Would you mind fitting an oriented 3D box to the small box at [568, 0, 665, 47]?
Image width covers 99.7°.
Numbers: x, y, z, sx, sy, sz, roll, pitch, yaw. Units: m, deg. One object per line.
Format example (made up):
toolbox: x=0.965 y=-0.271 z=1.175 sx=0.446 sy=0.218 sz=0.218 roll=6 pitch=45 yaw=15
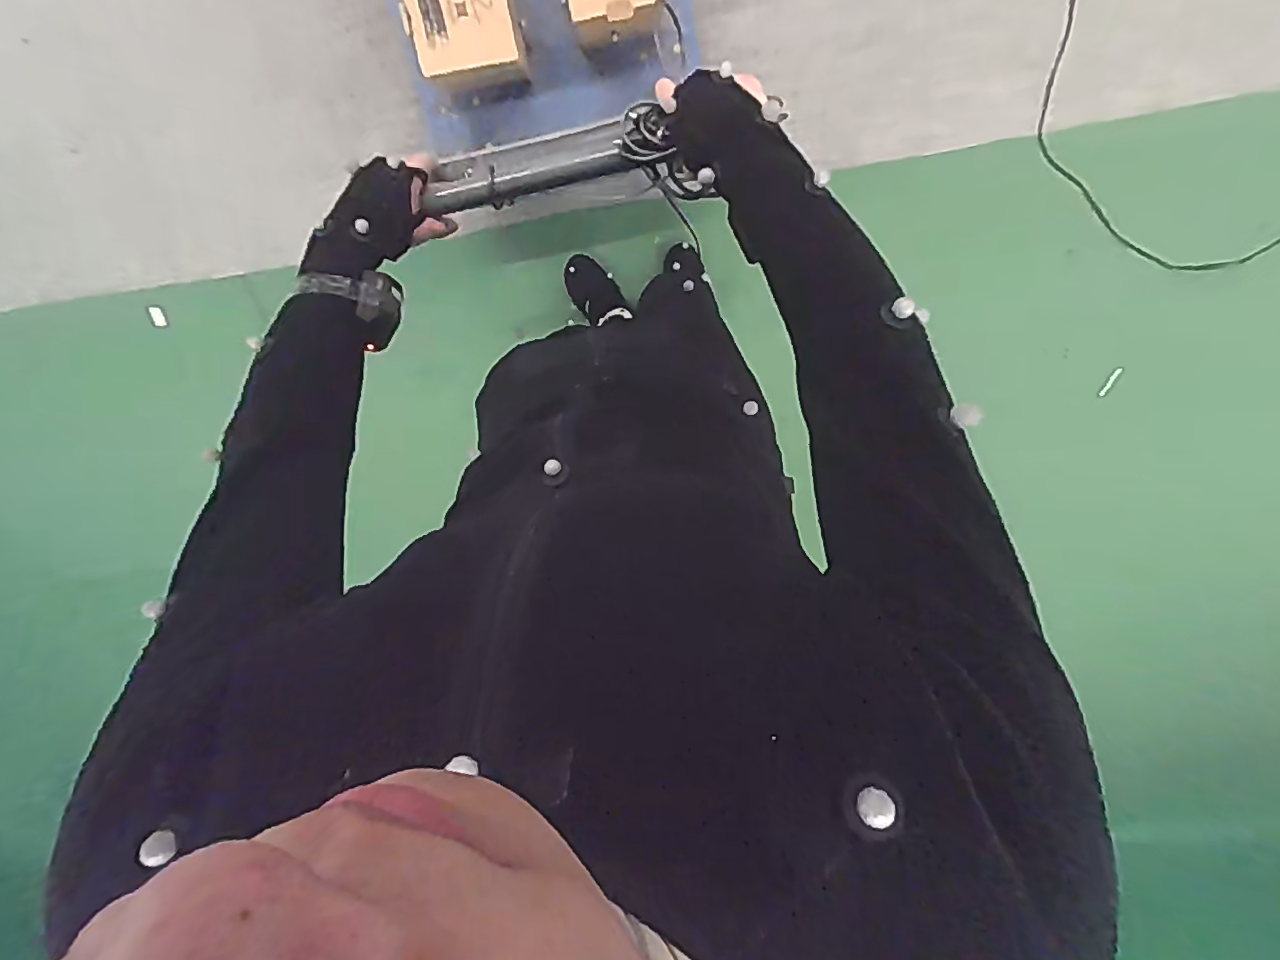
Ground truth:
small box: x=-0.055 y=-0.906 z=0.951 sx=0.168 sy=0.176 sz=0.179 roll=-11 pitch=117 yaw=4
